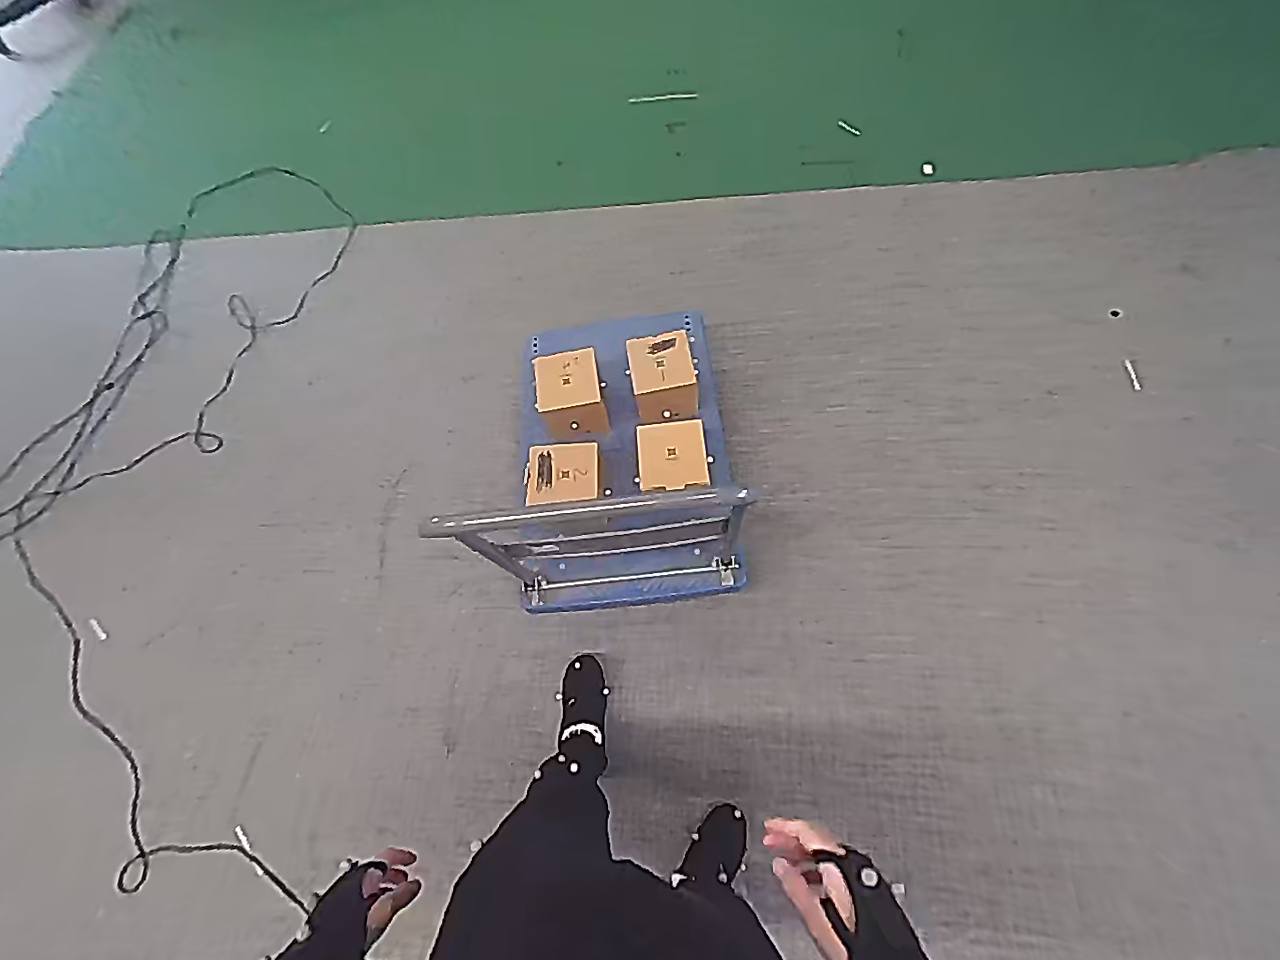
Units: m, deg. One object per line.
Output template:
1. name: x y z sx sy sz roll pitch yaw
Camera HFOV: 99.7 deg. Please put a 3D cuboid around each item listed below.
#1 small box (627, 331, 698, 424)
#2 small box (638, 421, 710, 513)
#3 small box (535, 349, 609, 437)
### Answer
1. small box: 0.064 -0.277 1.488 0.168 0.176 0.179 -10 67 3
2. small box: 0.087 -0.029 1.383 0.168 0.176 0.179 -6 67 4
3. small box: -0.185 -0.232 1.498 0.168 0.176 0.179 -9 66 2
